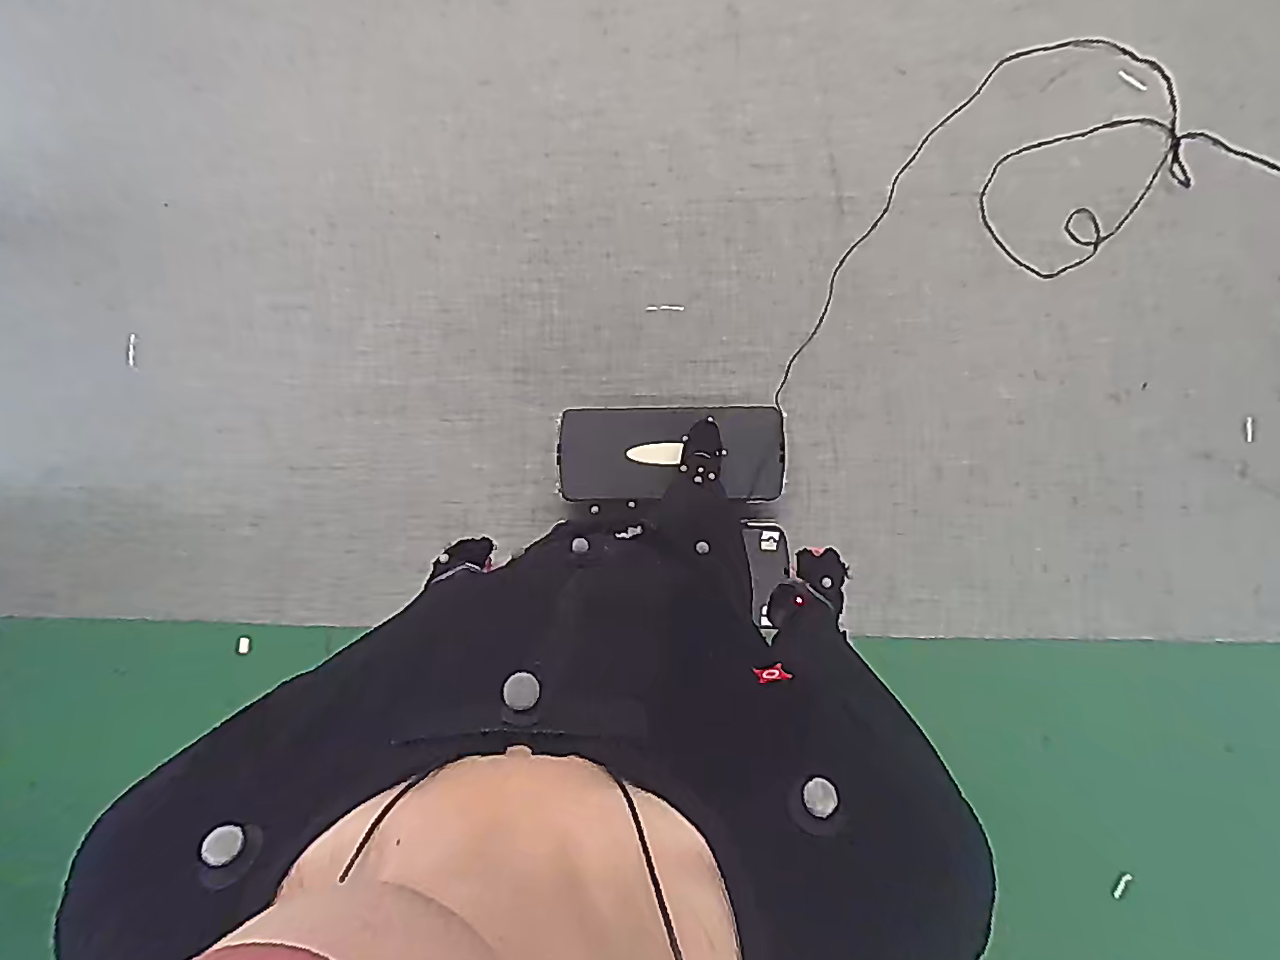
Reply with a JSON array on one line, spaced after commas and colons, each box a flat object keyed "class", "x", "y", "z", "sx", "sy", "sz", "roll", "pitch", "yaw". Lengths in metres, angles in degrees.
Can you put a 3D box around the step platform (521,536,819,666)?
[{"class": "step platform", "x": 0.069, "y": 0.282, "z": 1.330, "sx": 0.684, "sy": 0.204, "sz": 0.286, "roll": 0, "pitch": 87, "yaw": 2}]
